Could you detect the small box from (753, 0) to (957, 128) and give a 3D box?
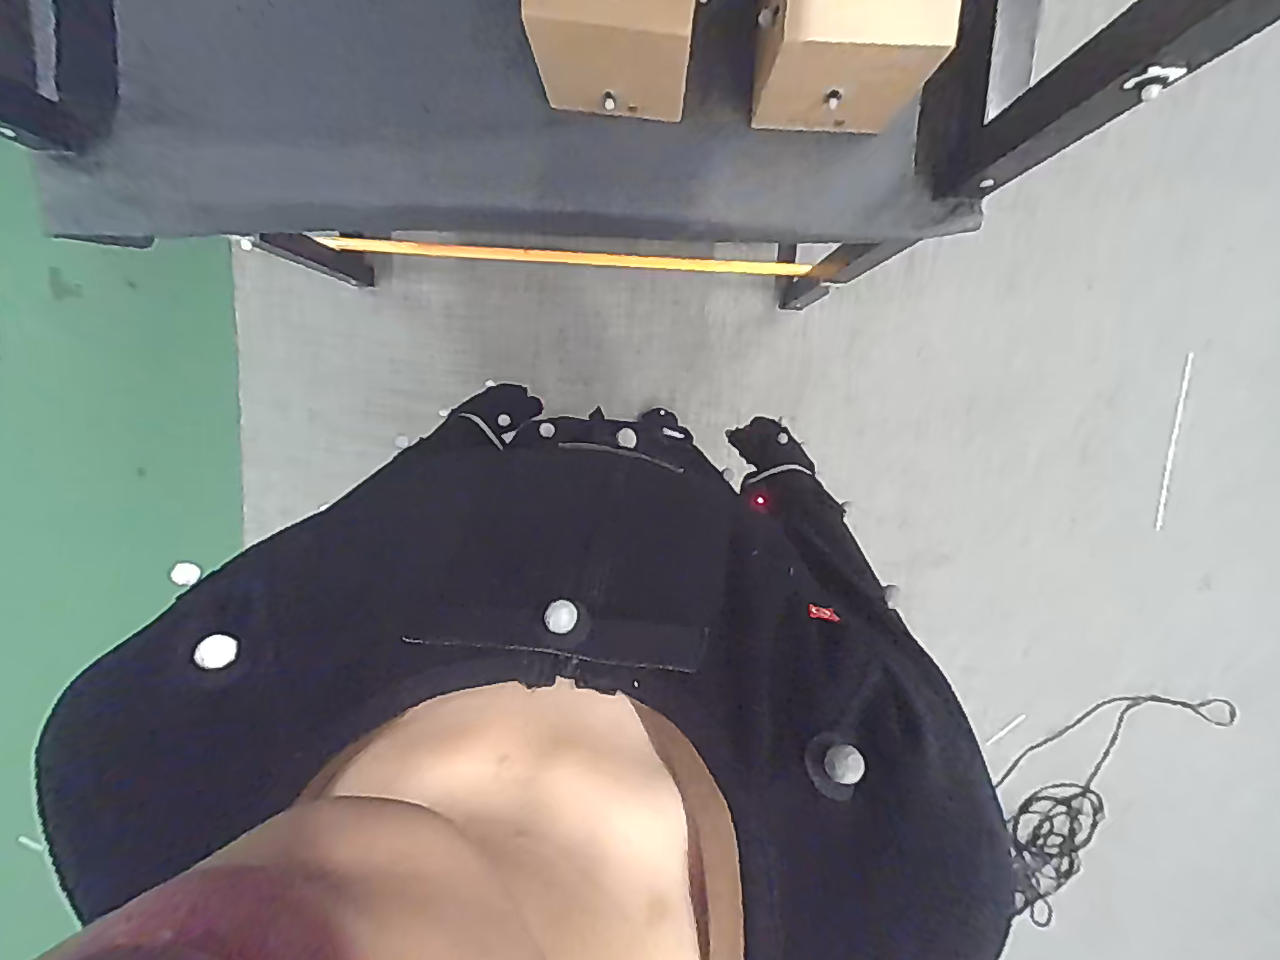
[{"bbox_3d":[0.223,-0.514,0.585,0.168,0.176,0.179,3,98,0],"label":"small box"}]
